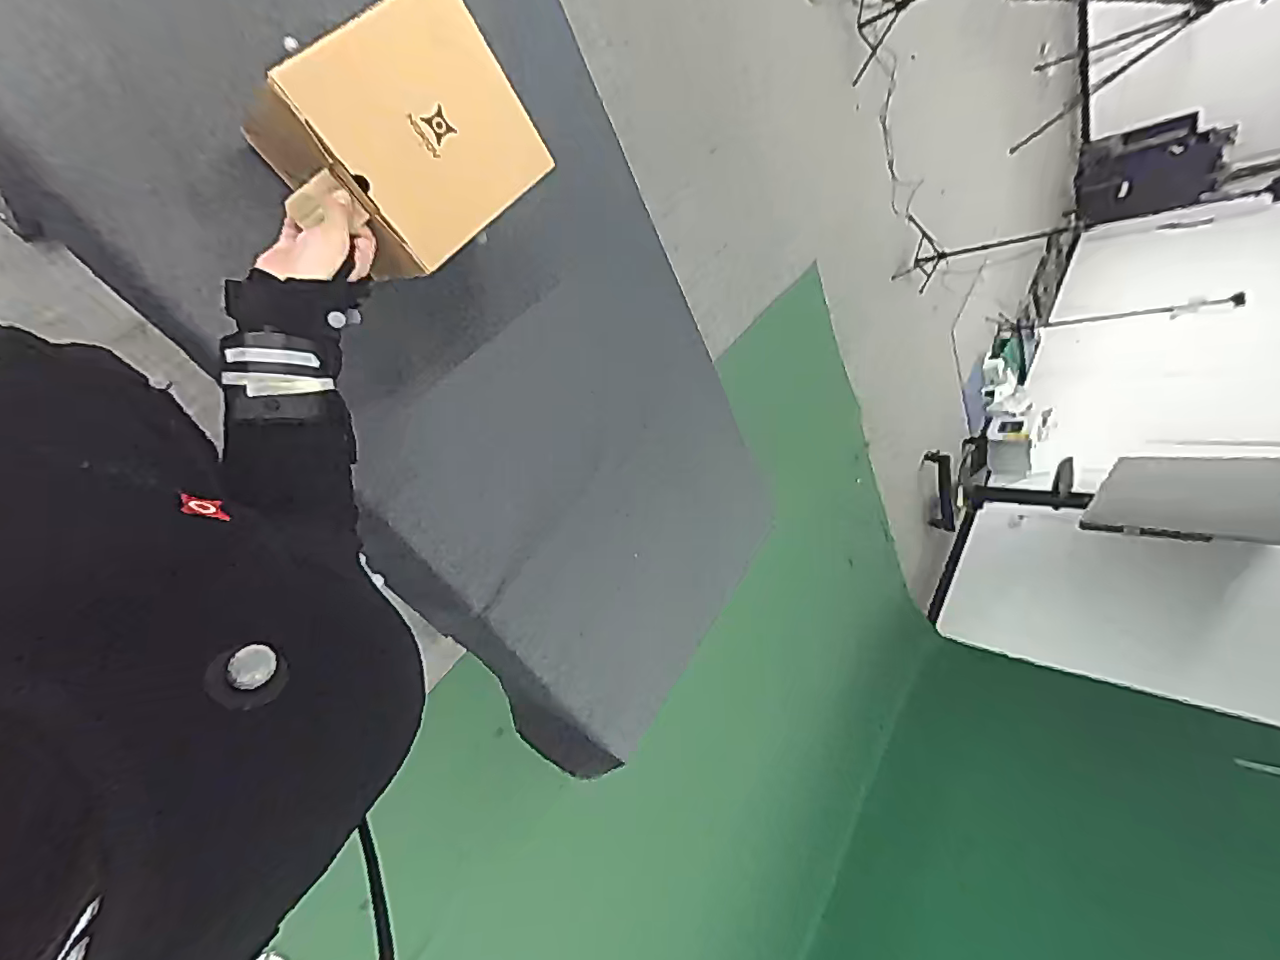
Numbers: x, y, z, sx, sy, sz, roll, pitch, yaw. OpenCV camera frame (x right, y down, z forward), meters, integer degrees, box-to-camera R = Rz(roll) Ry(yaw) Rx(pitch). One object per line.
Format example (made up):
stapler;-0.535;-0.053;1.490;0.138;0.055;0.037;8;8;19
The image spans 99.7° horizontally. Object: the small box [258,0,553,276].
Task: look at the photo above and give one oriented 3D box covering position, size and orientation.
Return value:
small box;-0.226;-0.319;0.520;0.179;0.176;0.168;-51;131;-17
